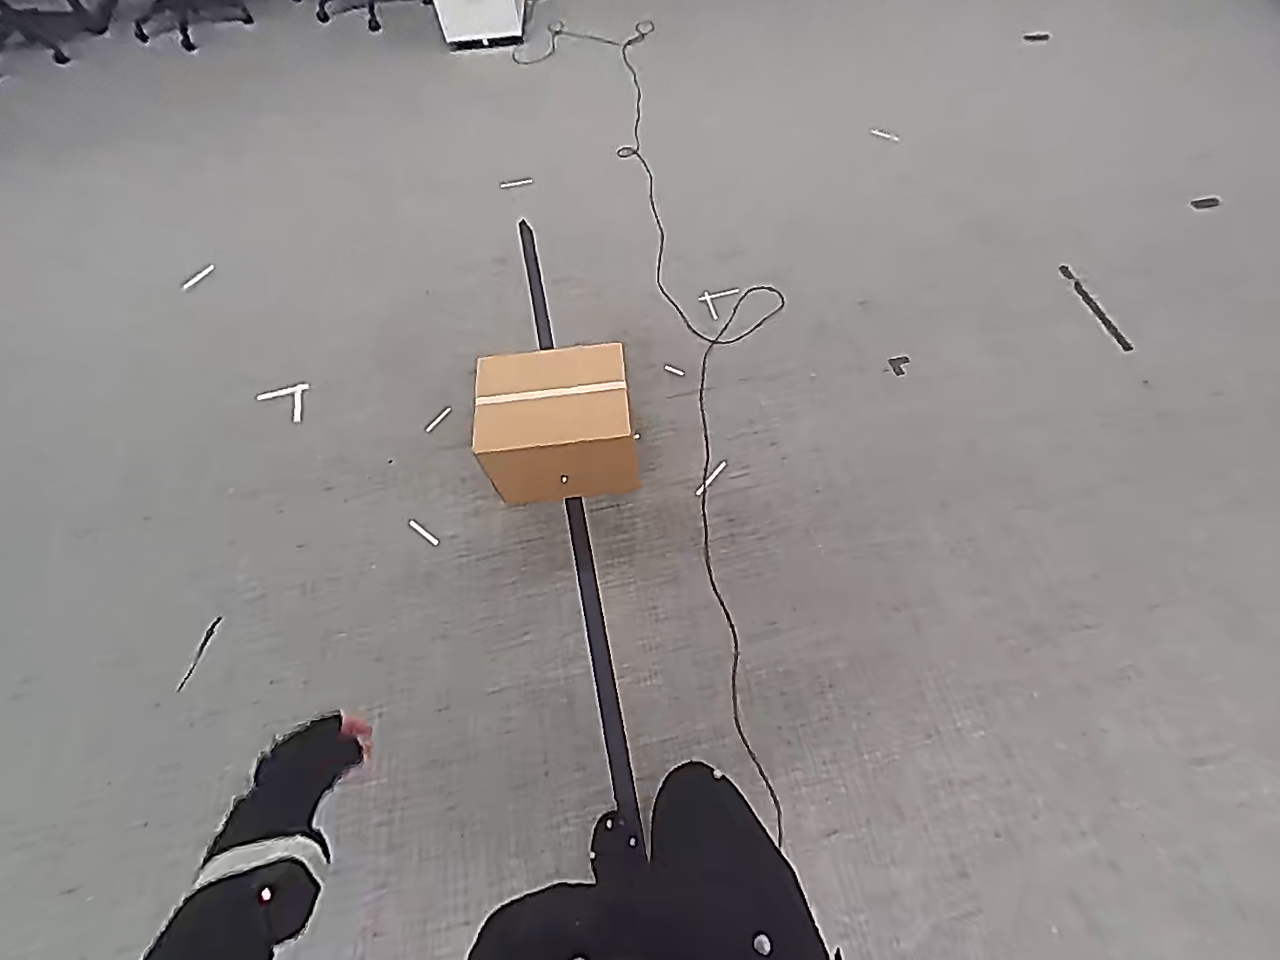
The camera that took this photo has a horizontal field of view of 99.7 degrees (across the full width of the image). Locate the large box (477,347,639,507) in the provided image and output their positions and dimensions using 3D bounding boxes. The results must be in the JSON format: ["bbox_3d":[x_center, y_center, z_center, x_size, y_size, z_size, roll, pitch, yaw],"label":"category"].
[{"bbox_3d":[-0.223,-0.141,1.550,0.408,0.320,0.320,-6,63,0],"label":"large box"}]
